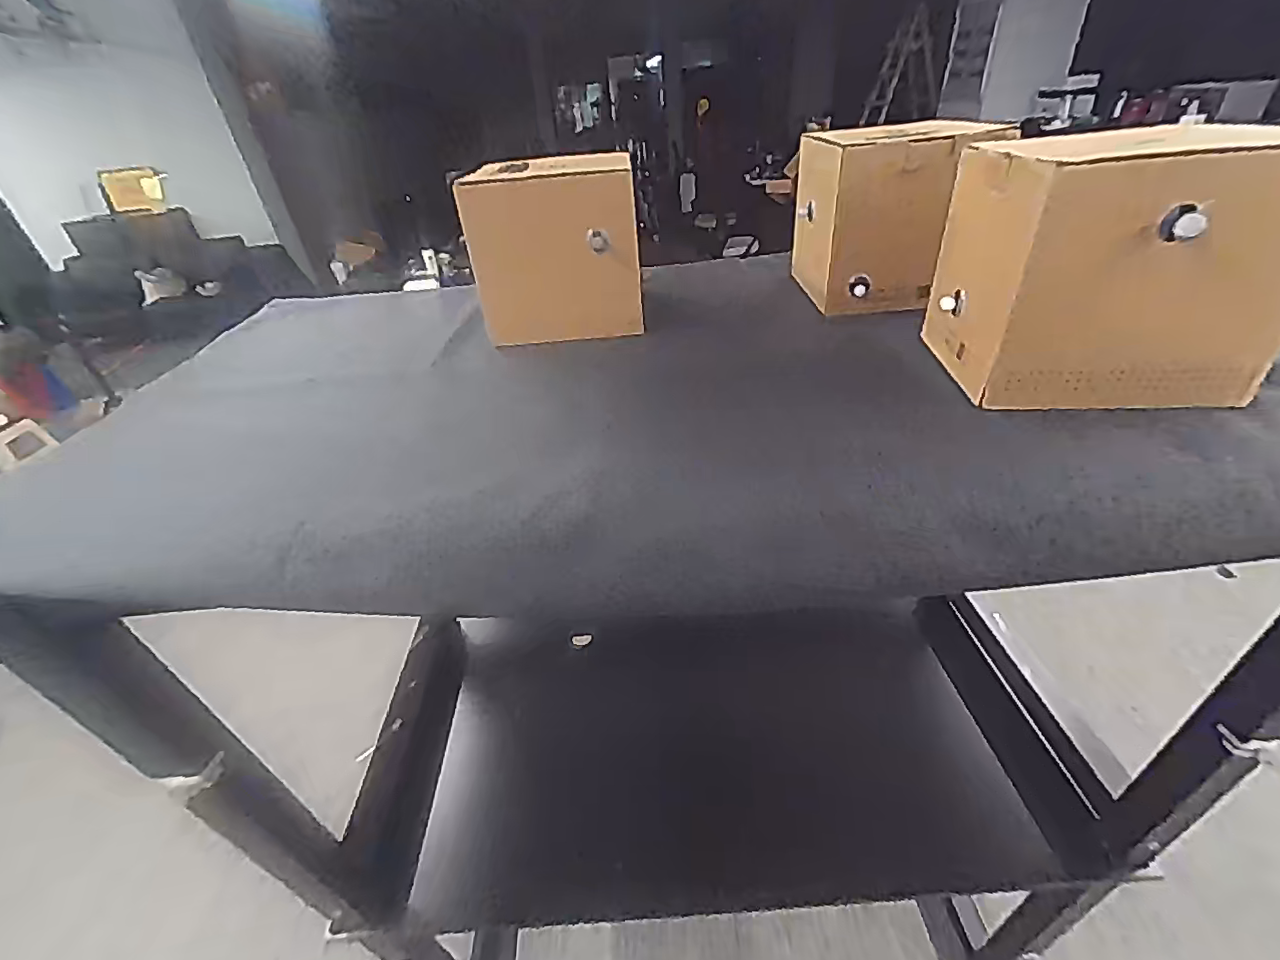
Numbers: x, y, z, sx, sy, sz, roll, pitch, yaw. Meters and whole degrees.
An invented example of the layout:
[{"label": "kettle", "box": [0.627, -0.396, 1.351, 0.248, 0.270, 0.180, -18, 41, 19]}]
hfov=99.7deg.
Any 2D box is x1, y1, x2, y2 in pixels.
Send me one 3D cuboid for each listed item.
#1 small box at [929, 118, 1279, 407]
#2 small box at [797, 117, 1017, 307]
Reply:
[{"label": "small box", "box": [0.350, -0.165, 0.413, 0.179, 0.176, 0.168, 0, 34, 10]}, {"label": "small box", "box": [0.283, -0.303, 0.621, 0.168, 0.176, 0.179, -4, 34, 4]}]
